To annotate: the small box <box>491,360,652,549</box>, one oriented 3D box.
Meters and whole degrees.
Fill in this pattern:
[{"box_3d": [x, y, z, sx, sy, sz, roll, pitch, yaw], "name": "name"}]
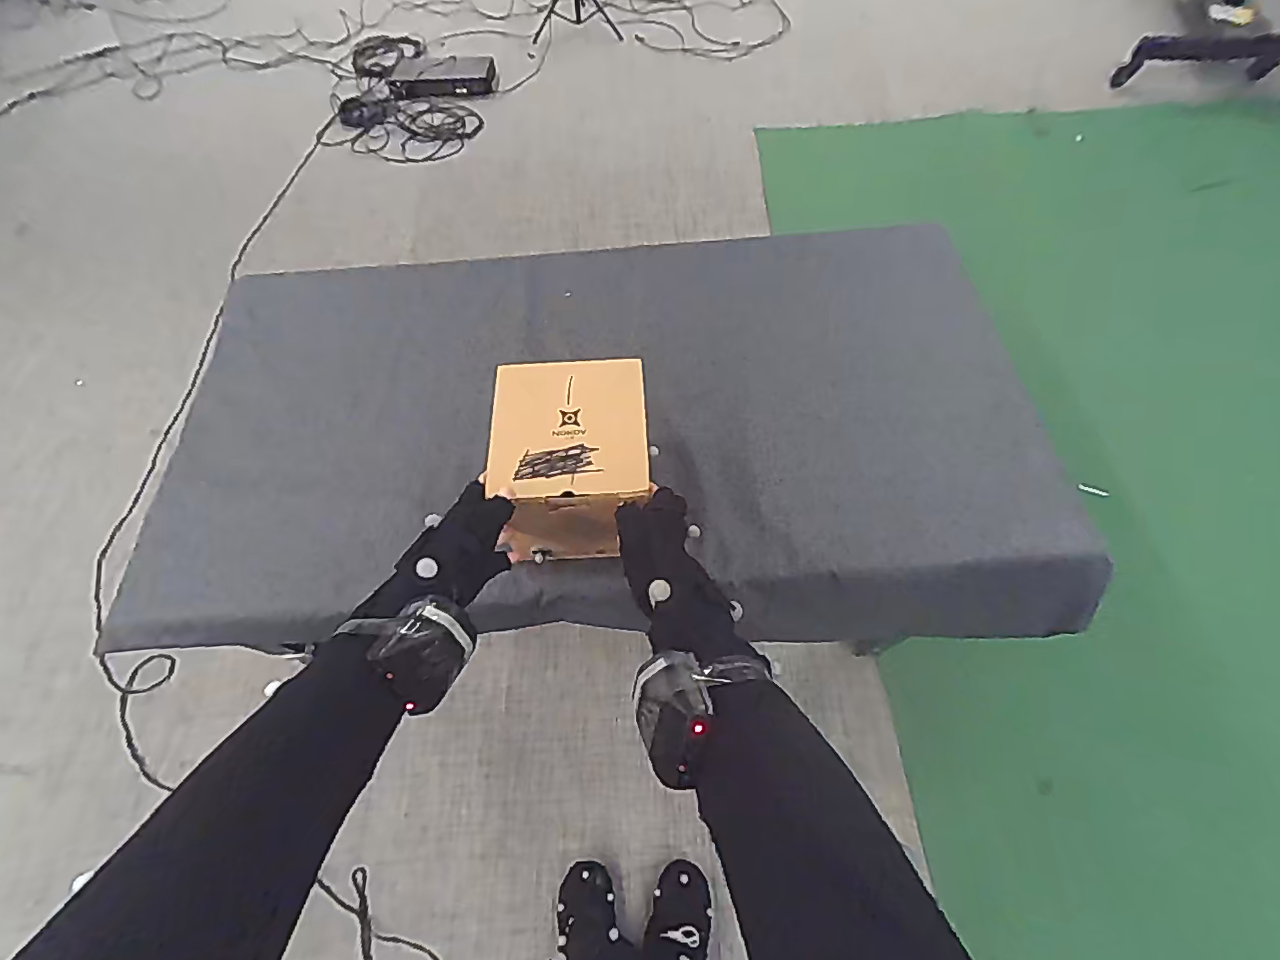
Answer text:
[{"box_3d": [-0.071, -0.021, 0.662, 0.168, 0.176, 0.179, -3, 60, 1], "name": "small box"}]
